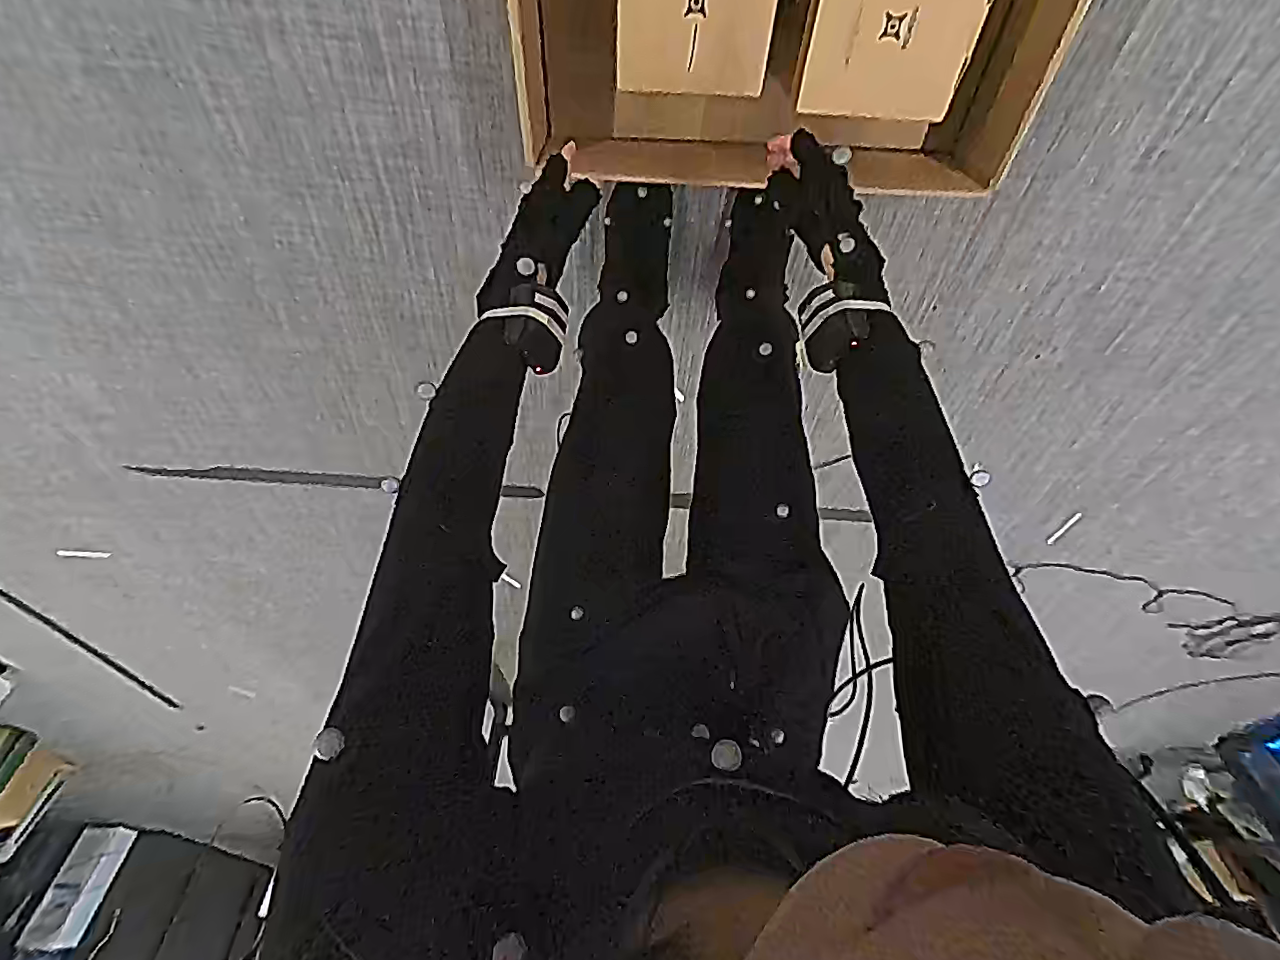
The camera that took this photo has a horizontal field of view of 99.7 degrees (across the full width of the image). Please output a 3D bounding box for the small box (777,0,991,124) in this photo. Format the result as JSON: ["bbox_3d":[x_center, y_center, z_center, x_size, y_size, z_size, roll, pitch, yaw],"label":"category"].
[{"bbox_3d":[0.271,-0.533,0.620,0.179,0.176,0.168,4,137,-1],"label":"small box"}]
